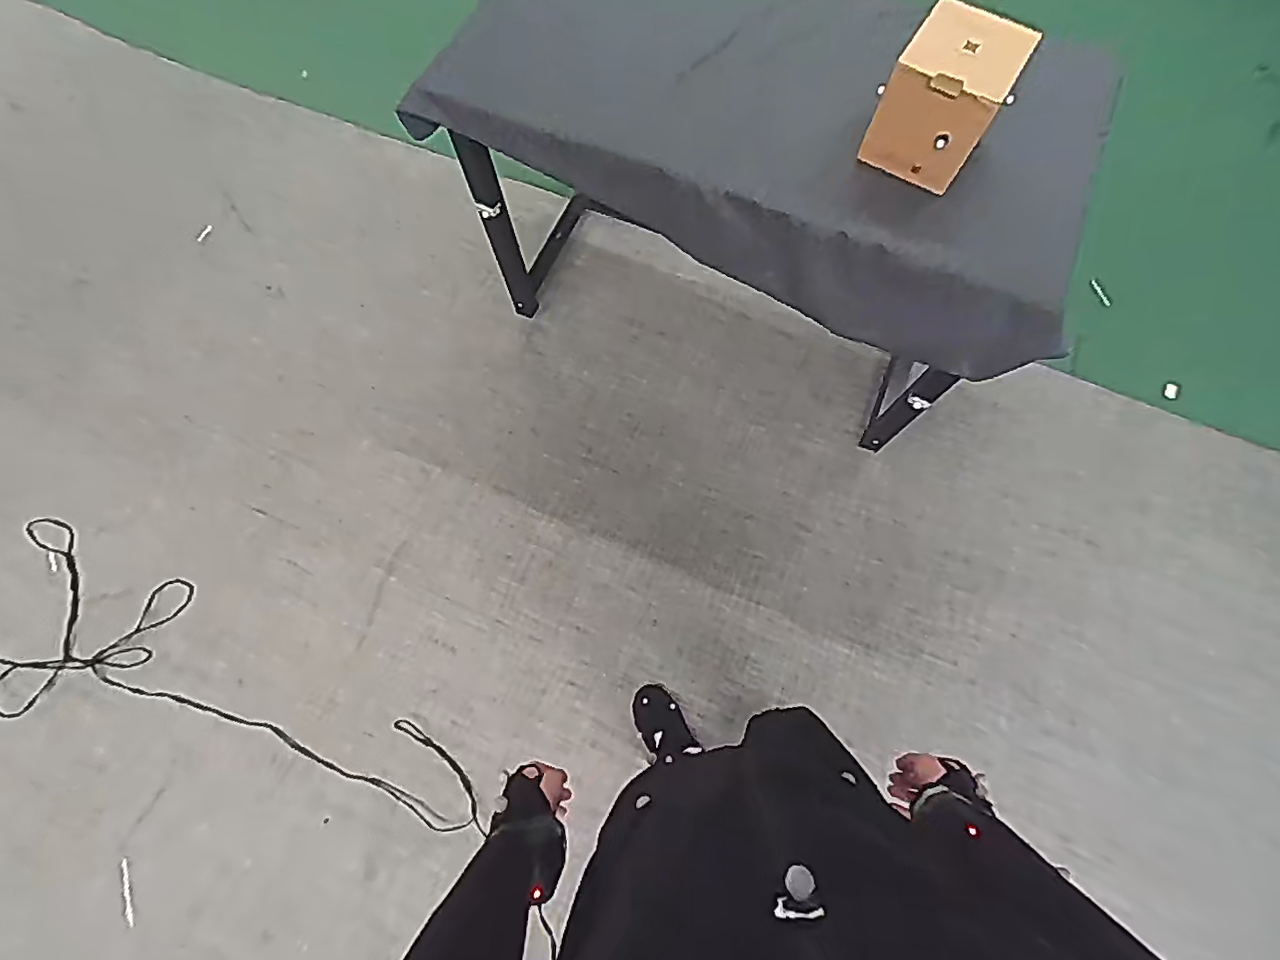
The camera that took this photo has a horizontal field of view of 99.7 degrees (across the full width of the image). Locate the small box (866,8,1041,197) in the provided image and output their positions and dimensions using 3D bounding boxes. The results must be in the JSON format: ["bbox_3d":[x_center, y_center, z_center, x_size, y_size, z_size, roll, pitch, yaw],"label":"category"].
[{"bbox_3d":[0.507,-0.618,0.902,0.168,0.176,0.179,32,74,9],"label":"small box"}]
